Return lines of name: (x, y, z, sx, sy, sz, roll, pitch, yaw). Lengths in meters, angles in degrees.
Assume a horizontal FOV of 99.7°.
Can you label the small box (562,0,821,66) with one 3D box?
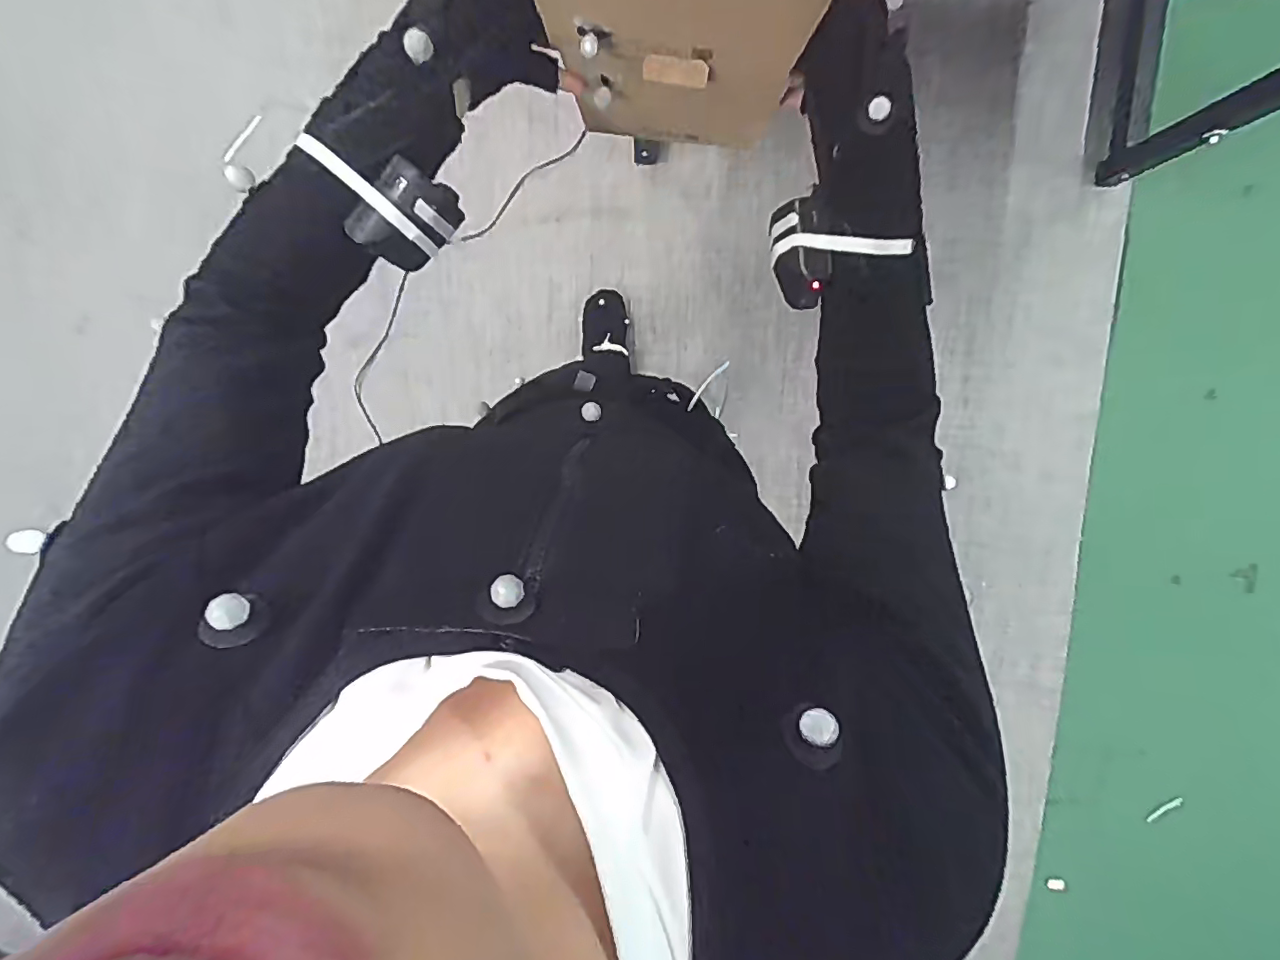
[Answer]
small box: (0.034, -0.342, 0.259, 0.168, 0.176, 0.179, 10, 107, -4)
